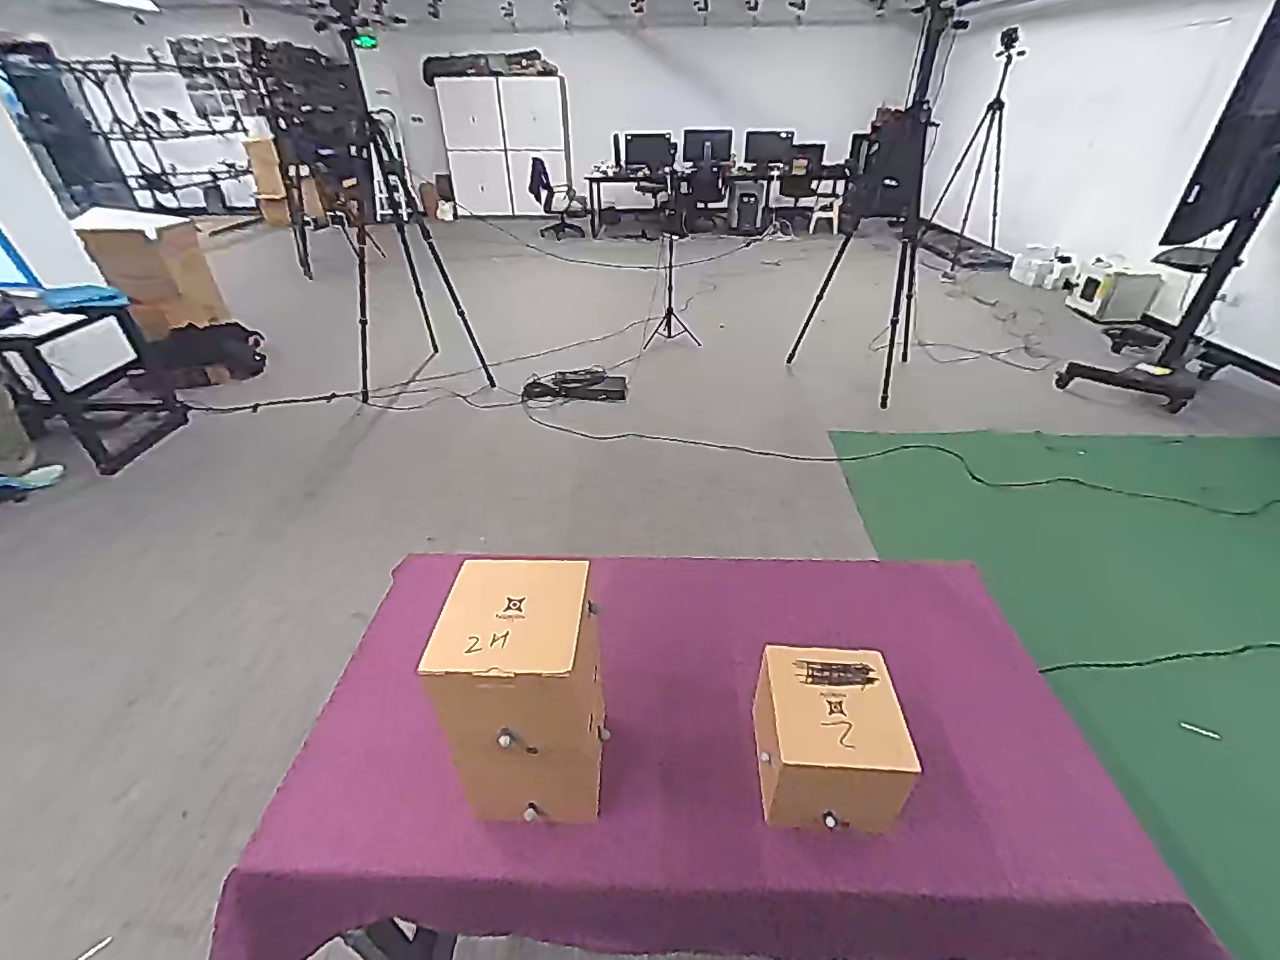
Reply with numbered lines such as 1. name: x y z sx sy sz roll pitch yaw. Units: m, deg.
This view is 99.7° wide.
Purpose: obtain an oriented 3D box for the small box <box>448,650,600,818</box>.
1. small box: -0.150 0.359 0.774 0.179 0.176 0.168 1 35 0

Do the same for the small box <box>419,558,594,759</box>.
1. small box: -0.151 0.220 0.683 0.168 0.176 0.179 0 35 2
